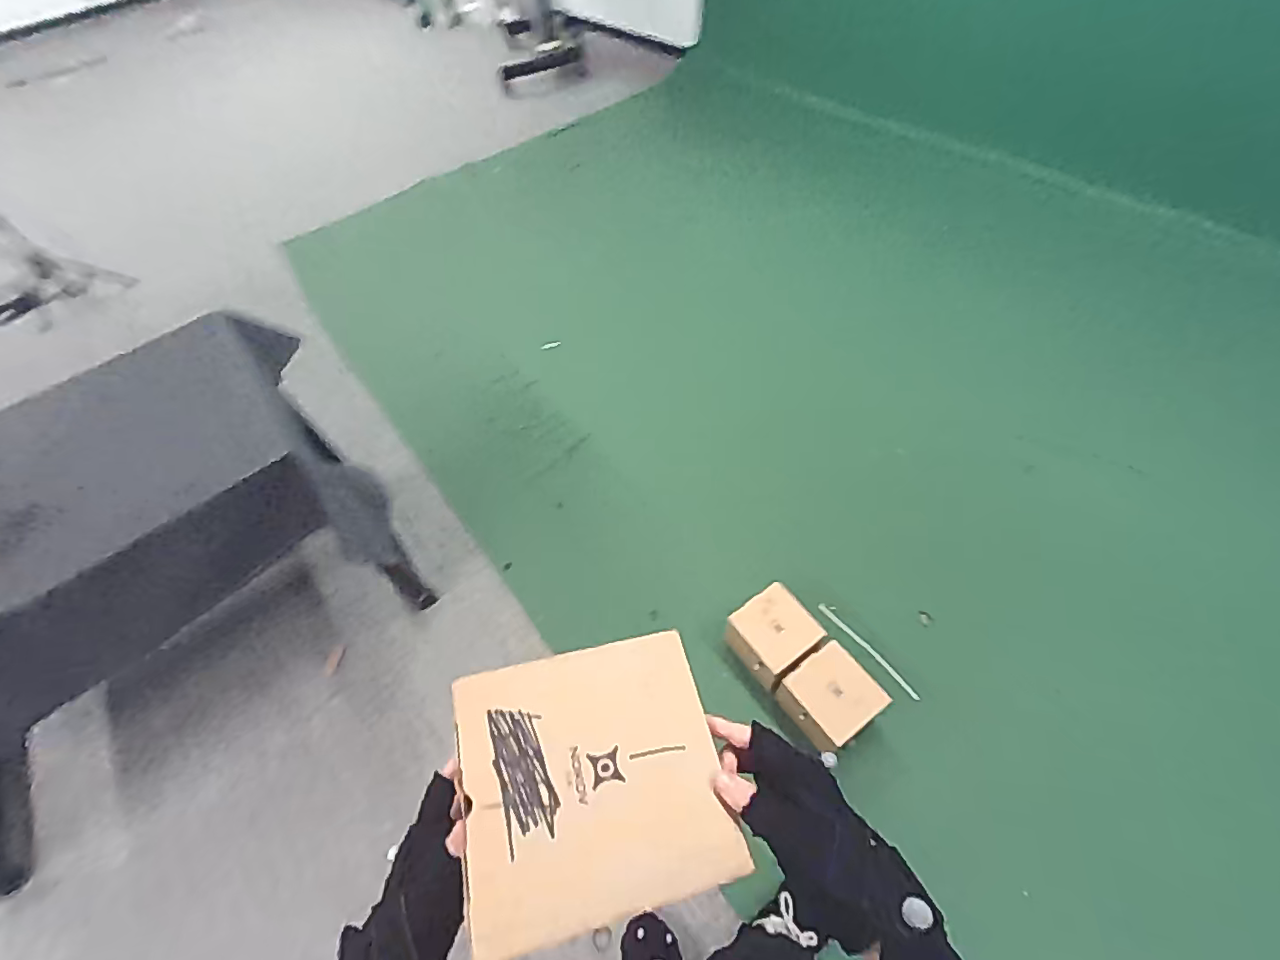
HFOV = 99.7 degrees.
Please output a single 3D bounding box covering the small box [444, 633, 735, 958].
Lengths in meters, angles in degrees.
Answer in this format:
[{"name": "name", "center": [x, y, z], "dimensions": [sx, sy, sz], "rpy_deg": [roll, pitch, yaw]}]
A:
[{"name": "small box", "center": [-0.048, 0.248, 0.433], "dimensions": [0.179, 0.176, 0.168], "rpy_deg": [-9, 54, -14]}]
